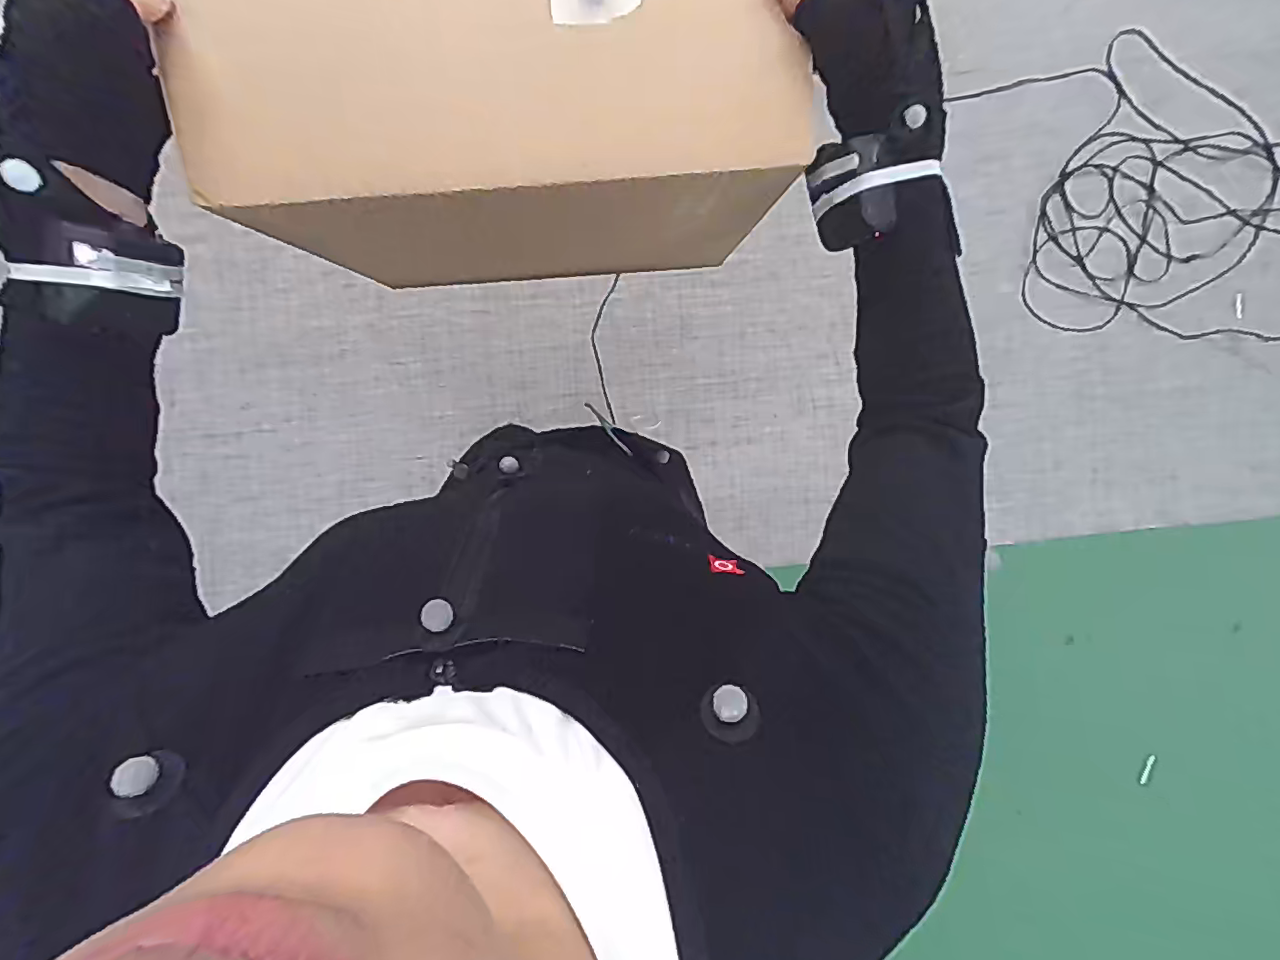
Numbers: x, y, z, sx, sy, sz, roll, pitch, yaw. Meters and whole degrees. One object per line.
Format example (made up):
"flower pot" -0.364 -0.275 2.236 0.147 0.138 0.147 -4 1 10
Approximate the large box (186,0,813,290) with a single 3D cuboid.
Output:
"large box" -0.100 -0.375 0.490 0.408 0.320 0.320 -5 100 -2
